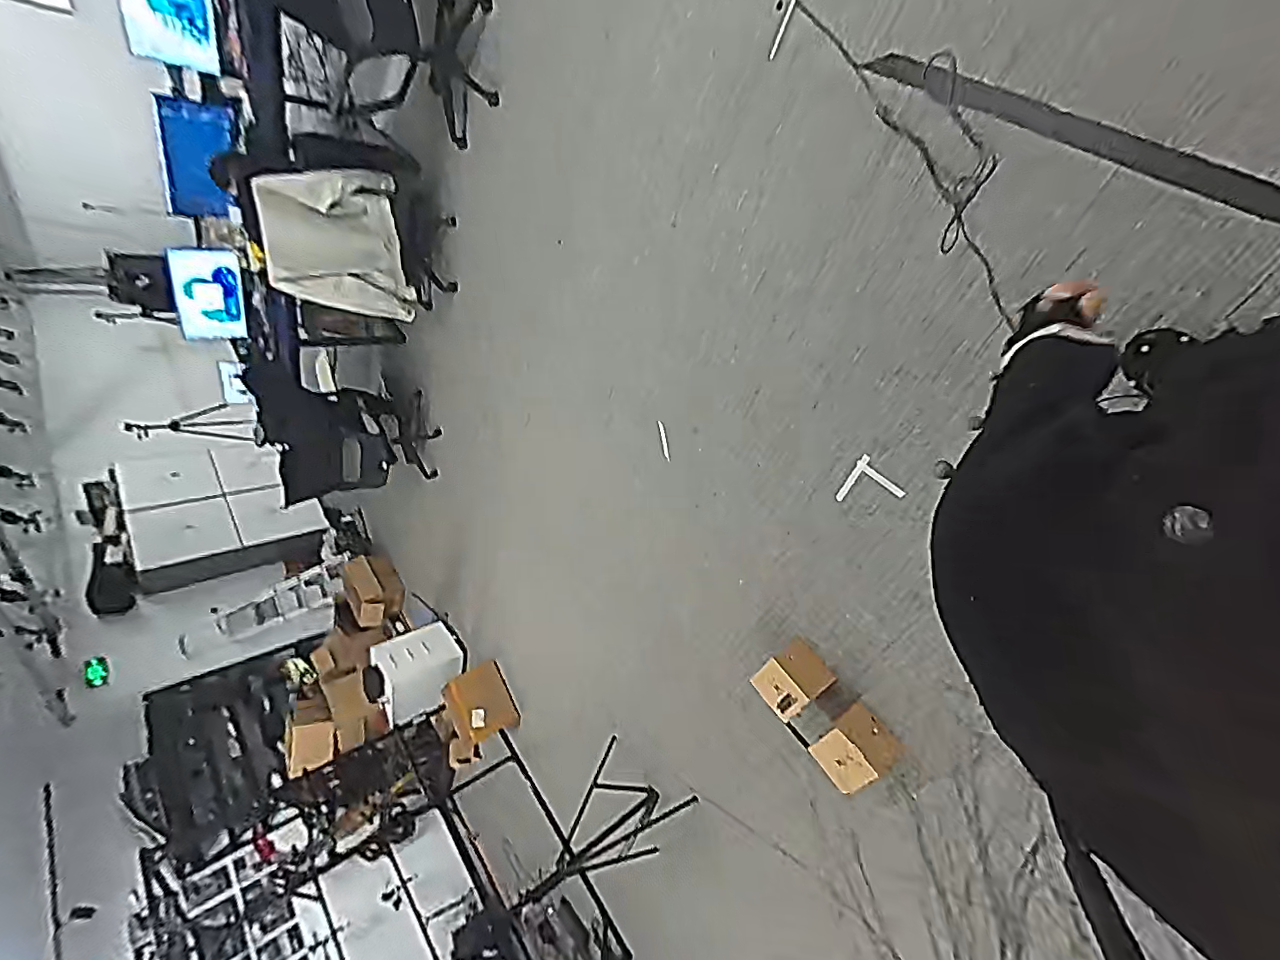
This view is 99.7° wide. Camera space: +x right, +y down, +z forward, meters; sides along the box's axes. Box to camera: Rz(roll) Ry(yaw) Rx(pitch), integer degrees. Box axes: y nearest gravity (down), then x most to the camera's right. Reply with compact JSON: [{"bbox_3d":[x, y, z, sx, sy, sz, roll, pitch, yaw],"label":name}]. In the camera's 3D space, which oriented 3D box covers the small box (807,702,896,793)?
[{"bbox_3d":[0.676,0.847,1.720,0.168,0.176,0.179,48,133,26],"label":"small box"}]
